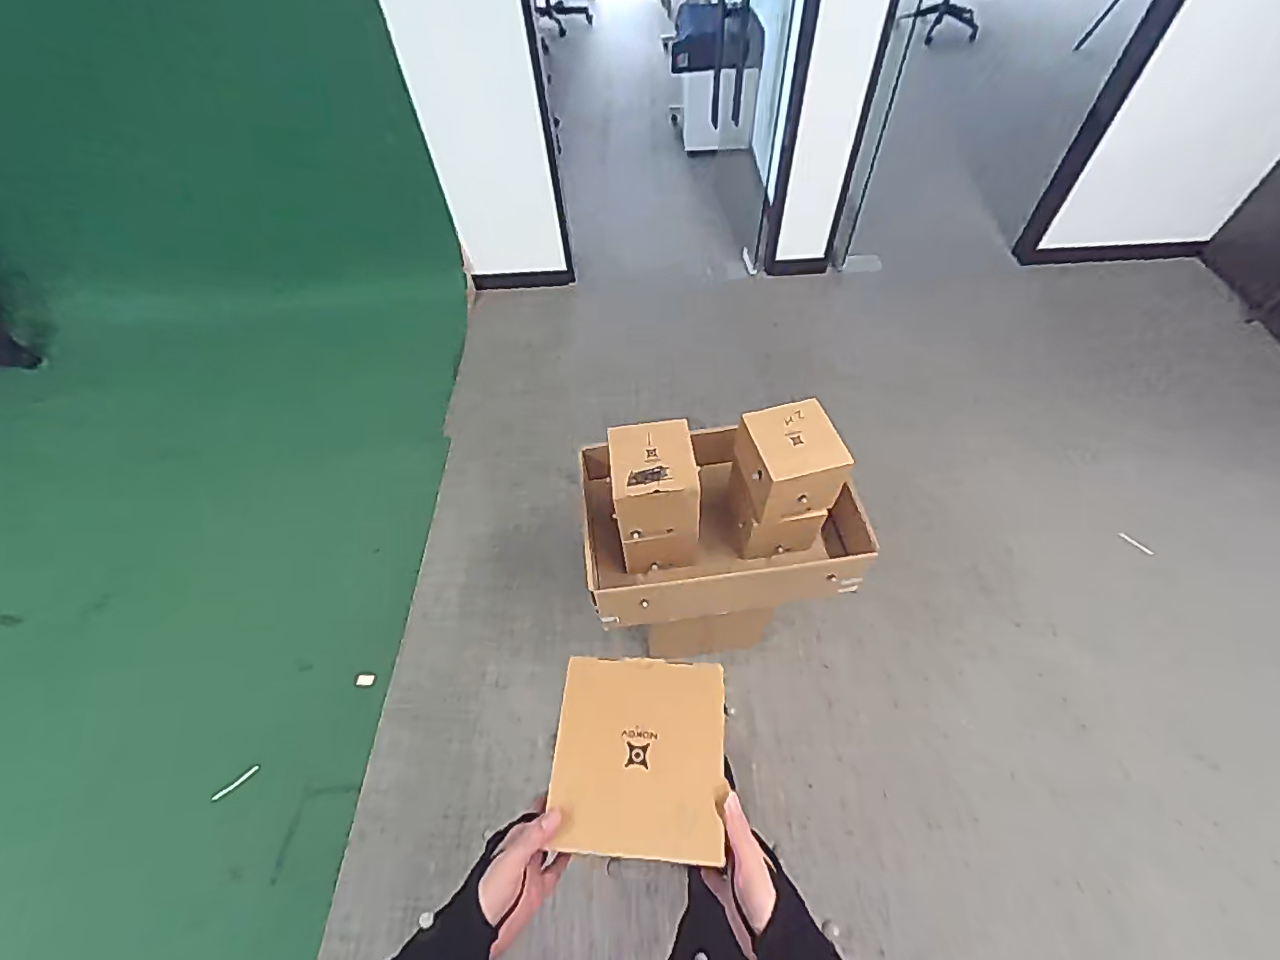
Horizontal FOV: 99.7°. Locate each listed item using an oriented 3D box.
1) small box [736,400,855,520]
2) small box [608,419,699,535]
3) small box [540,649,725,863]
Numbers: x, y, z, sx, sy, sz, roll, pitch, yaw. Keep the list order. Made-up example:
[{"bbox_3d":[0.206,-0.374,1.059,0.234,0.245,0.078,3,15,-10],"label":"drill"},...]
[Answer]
[{"bbox_3d":[0.308,-0.033,1.112,0.168,0.176,0.179,-12,56,-7],"label":"small box"},{"bbox_3d":[0.029,0.002,1.102,0.168,0.176,0.179,-6,54,-1],"label":"small box"},{"bbox_3d":[0.006,0.297,0.579,0.168,0.176,0.179,1,54,6],"label":"small box"}]
